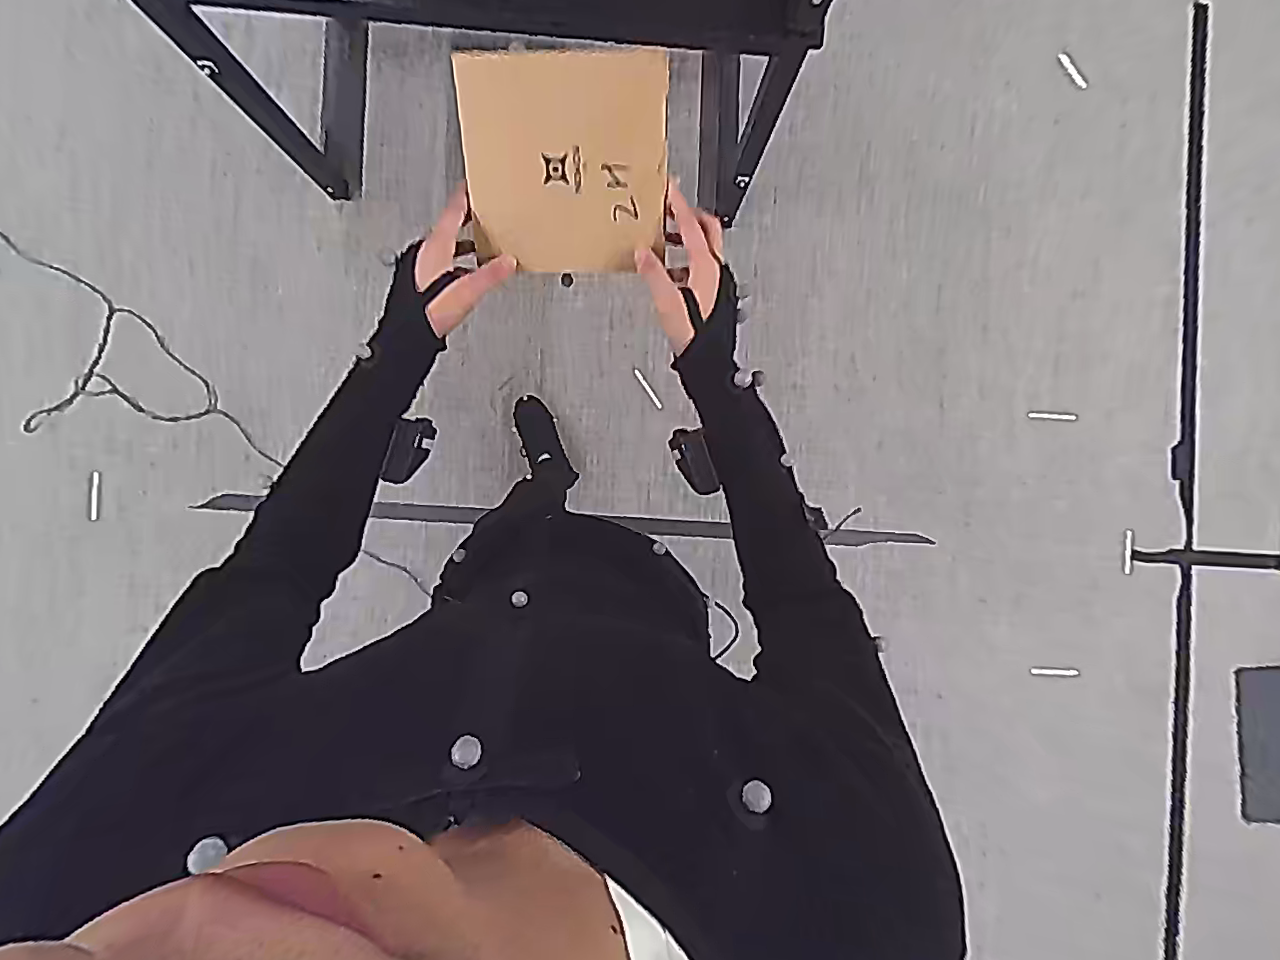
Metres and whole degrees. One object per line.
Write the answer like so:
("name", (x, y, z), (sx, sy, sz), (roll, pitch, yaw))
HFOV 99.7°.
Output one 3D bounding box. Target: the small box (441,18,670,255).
("small box", (-0.062, -0.306, 0.511), (0.179, 0.176, 0.168), (1, 117, 2))
